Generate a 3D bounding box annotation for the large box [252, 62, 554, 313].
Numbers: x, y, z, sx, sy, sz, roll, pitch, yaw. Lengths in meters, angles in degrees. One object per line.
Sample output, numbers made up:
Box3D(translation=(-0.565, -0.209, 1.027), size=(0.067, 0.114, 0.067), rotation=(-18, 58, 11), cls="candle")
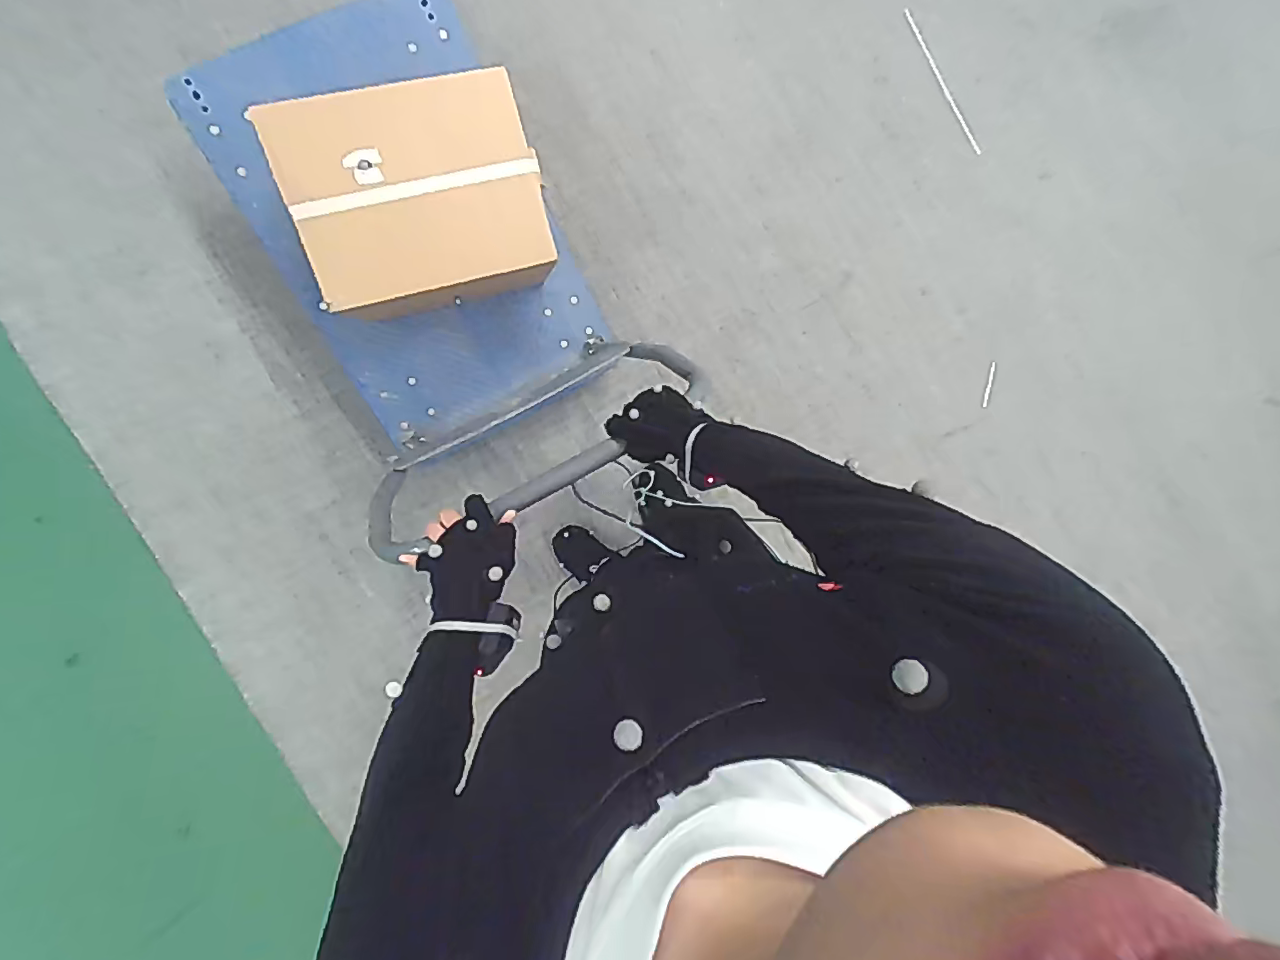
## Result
Box3D(translation=(-0.411, -0.529, 1.045), size=(0.408, 0.320, 0.320), rotation=(-17, 107, -10), cls="large box")
